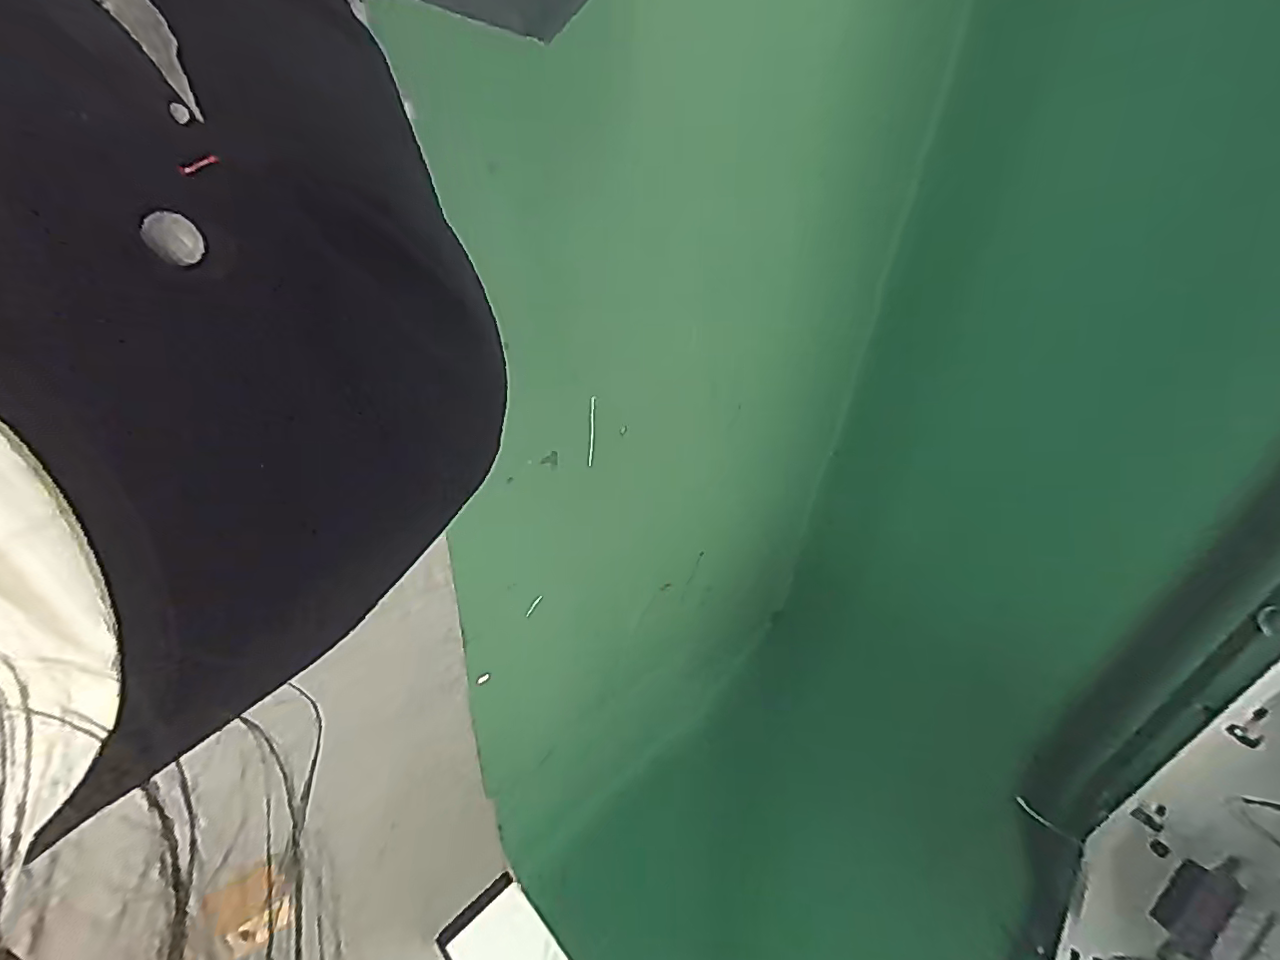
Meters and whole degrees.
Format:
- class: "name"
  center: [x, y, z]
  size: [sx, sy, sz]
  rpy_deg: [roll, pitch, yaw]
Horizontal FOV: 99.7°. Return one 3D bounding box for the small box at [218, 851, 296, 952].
- class: "small box"
  center: [-1.322, 1.443, 1.860]
  size: [0.179, 0.176, 0.168]
  rpy_deg: [-22, 132, -43]
